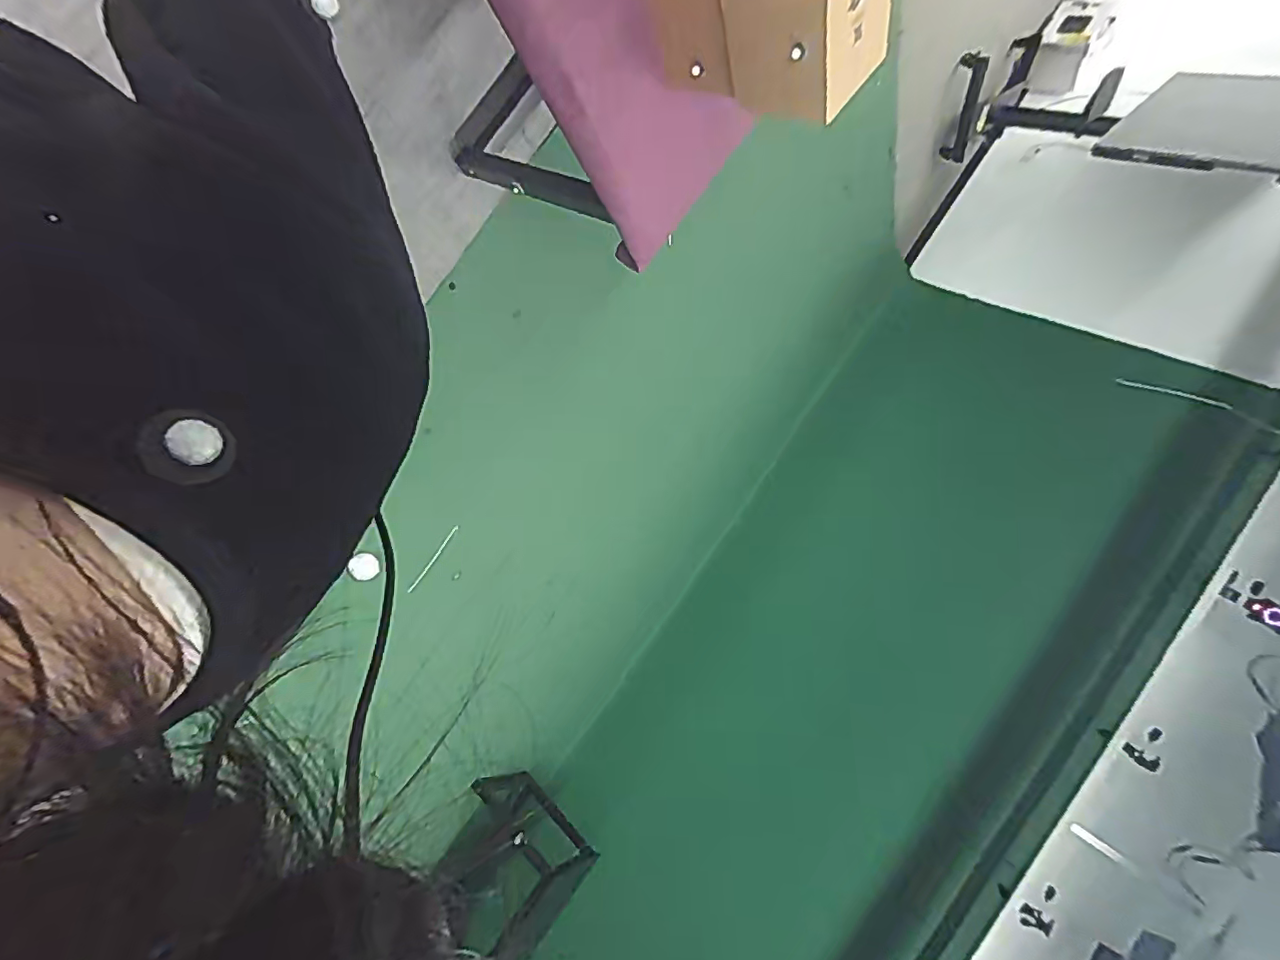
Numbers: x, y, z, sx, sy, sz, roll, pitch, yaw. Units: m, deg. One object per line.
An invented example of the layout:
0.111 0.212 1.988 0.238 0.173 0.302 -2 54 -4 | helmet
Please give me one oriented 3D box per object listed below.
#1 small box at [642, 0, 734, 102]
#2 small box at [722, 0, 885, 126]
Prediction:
0.123 -0.753 0.864 0.168 0.176 0.179 -51 149 -11 | small box
0.236 -0.661 0.788 0.168 0.176 0.179 -51 150 -11 | small box
